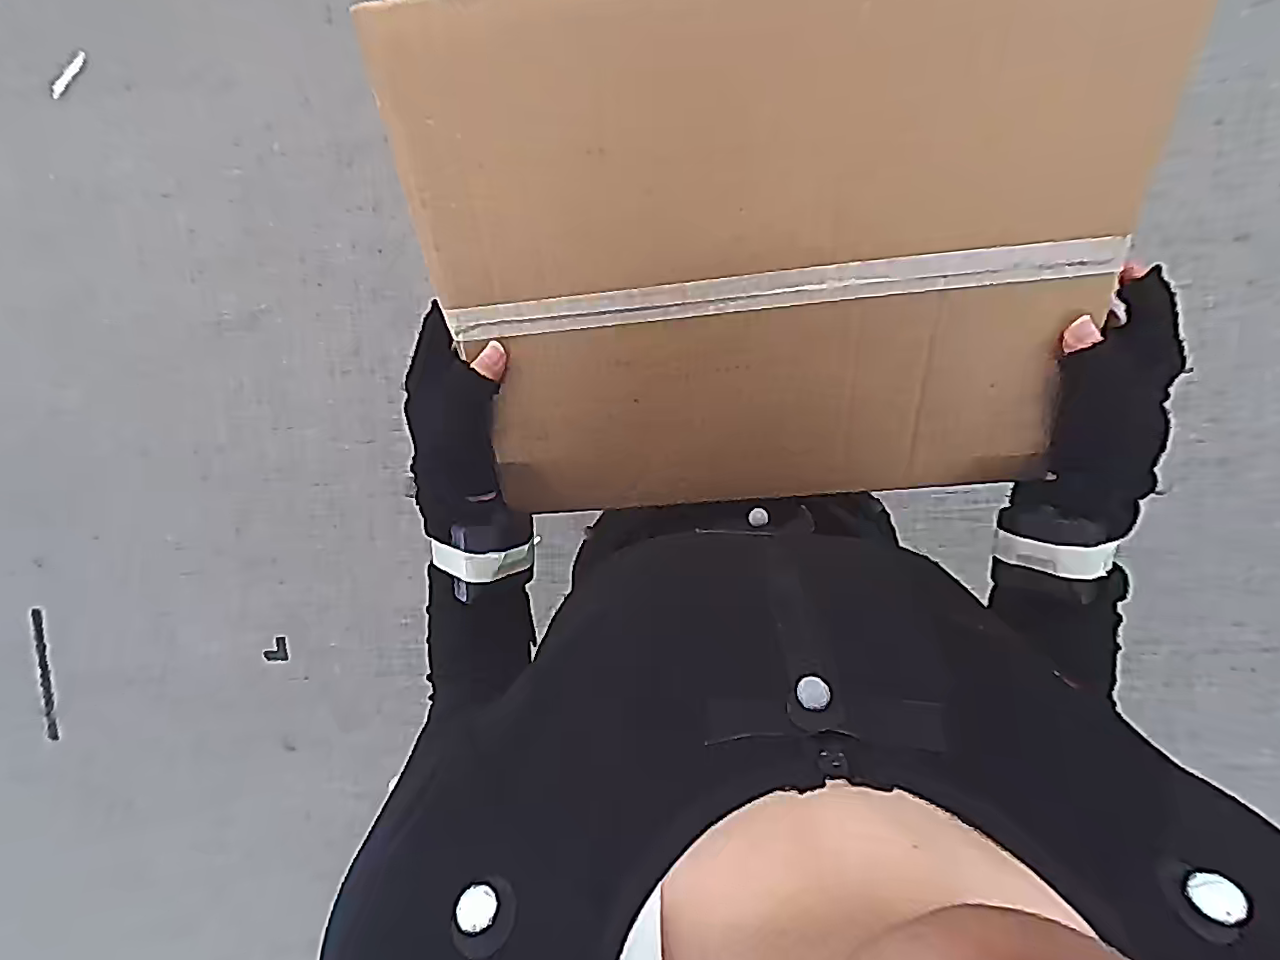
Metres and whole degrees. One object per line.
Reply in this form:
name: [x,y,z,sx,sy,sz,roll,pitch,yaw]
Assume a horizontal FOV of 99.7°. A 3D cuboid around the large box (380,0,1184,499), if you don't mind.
large box: [0.082,-0.209,0.463,0.408,0.320,0.320,-4,125,5]
